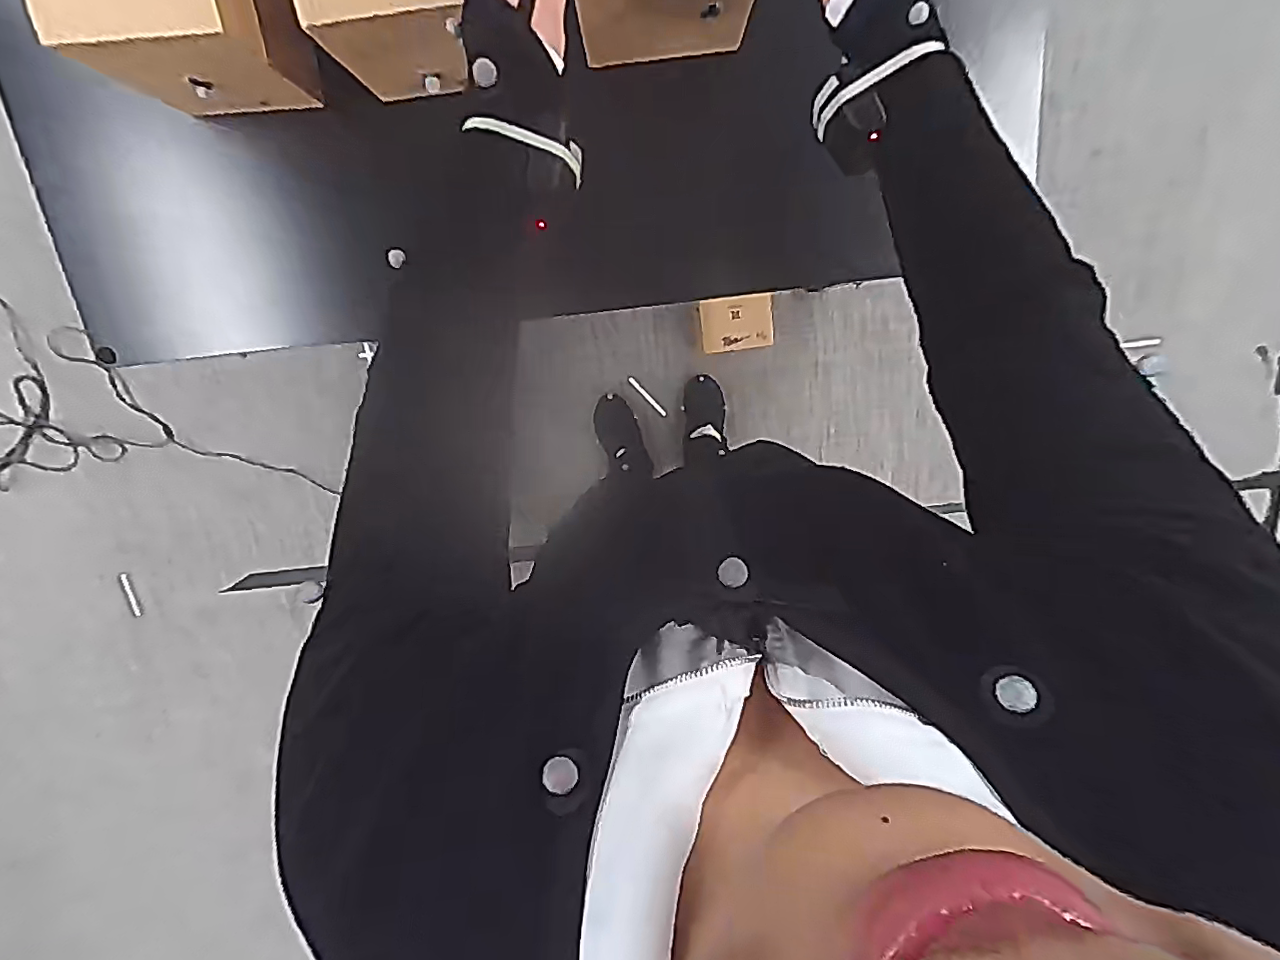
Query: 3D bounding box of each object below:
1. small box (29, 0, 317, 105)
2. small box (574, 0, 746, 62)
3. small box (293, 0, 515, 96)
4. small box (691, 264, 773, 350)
[{"bbox_3d":[-0.454,-0.496,0.532,0.168,0.176,0.179,-4,105,0],"label":"small box"},{"bbox_3d":[0.016,-0.545,0.523,0.179,0.176,0.168,-6,104,3],"label":"small box"},{"bbox_3d":[-0.230,-0.516,0.528,0.168,0.176,0.179,-7,106,2],"label":"small box"},{"bbox_3d":[0.218,-0.413,1.312,0.168,0.176,0.179,-7,105,3],"label":"small box"}]
